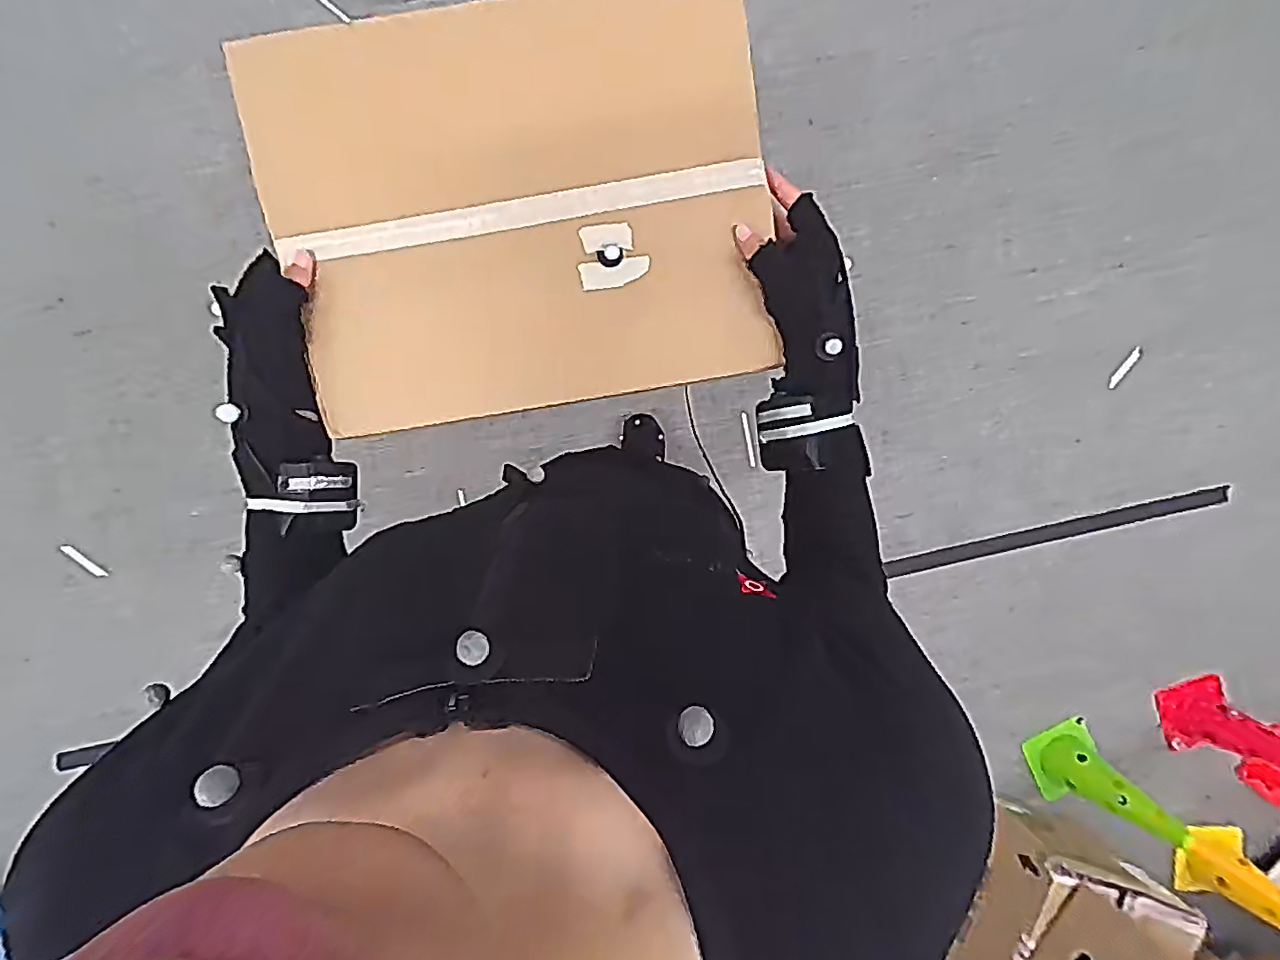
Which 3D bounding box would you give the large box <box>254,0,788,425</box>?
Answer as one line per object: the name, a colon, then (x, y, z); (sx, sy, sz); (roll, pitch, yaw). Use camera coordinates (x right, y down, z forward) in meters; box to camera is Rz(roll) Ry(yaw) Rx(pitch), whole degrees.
large box: (-0.095, -0.255, 0.600); (0.408, 0.320, 0.320); (-10, 101, 0)
